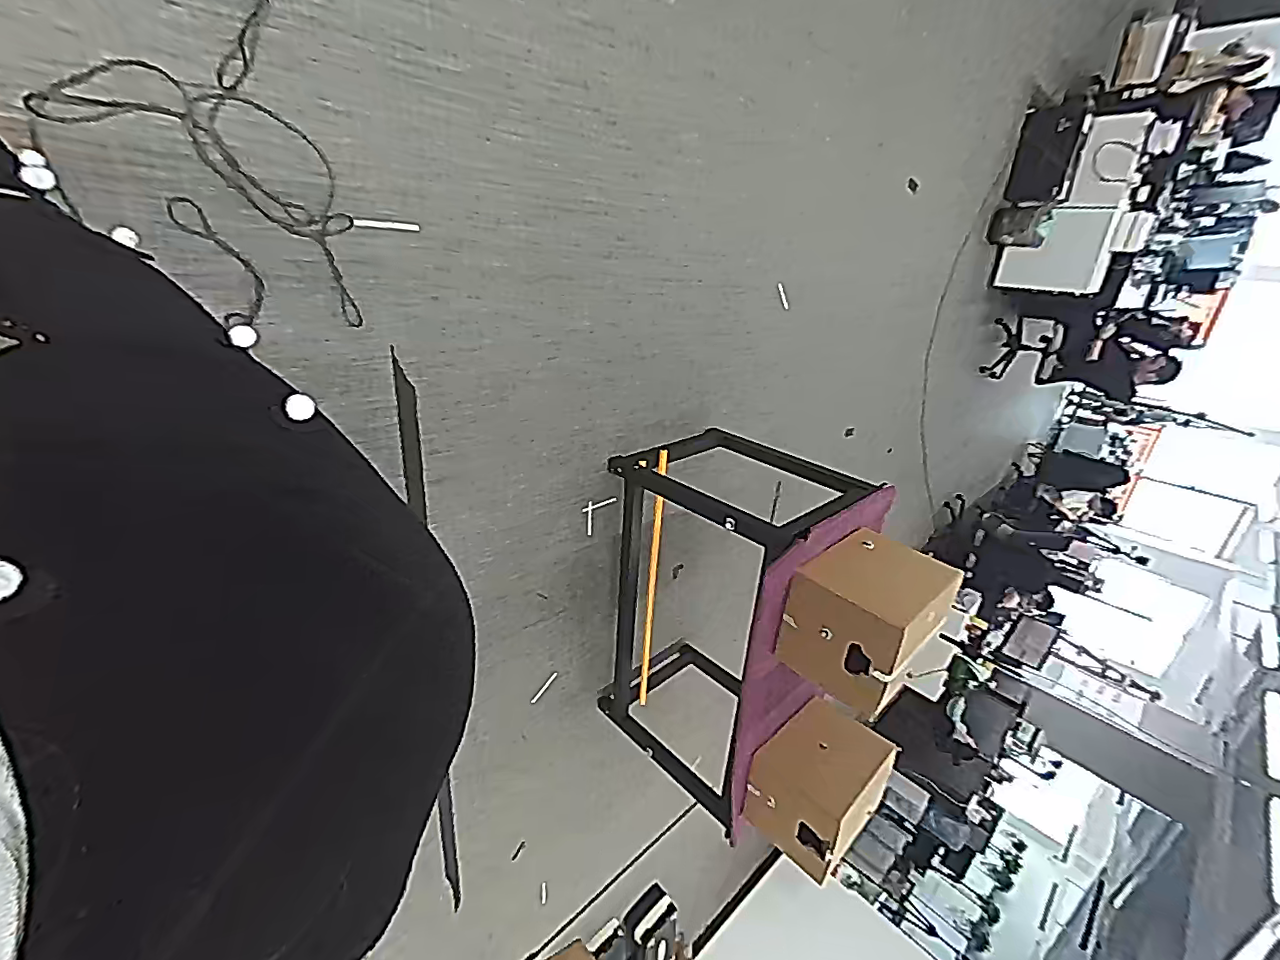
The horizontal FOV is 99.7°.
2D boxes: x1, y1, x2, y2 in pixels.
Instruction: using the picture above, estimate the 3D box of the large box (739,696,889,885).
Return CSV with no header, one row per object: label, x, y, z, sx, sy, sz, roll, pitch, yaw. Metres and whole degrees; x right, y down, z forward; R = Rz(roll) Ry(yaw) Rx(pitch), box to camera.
large box,0.586,1.028,1.843,0.408,0.320,0.320,-19,123,-41
